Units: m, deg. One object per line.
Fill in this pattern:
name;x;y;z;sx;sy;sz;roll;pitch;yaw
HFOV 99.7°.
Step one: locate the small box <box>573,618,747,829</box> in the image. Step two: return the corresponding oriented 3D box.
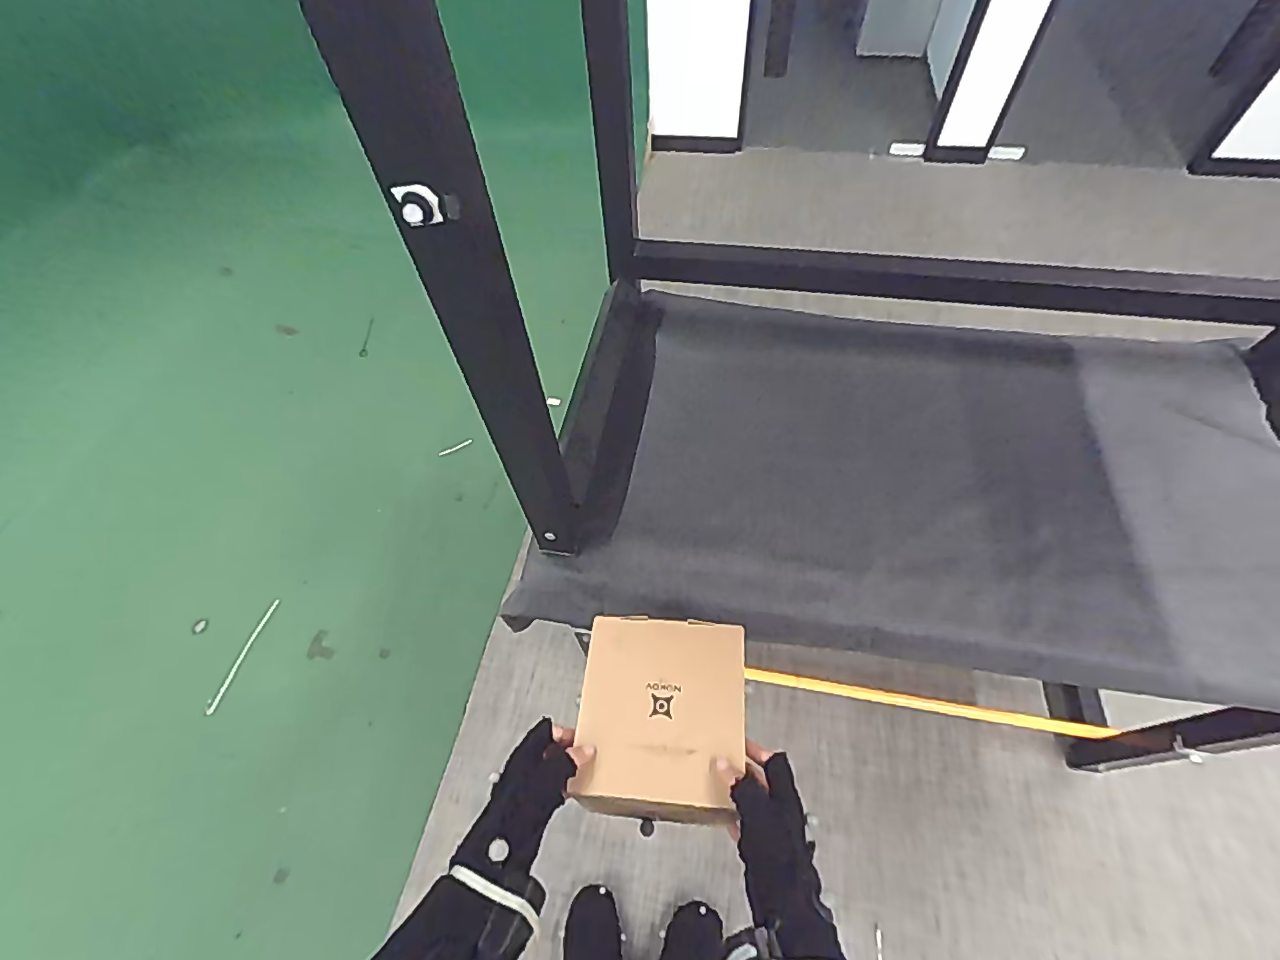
small box;0.030;0.276;0.612;0.168;0.176;0.179;1;53;7
